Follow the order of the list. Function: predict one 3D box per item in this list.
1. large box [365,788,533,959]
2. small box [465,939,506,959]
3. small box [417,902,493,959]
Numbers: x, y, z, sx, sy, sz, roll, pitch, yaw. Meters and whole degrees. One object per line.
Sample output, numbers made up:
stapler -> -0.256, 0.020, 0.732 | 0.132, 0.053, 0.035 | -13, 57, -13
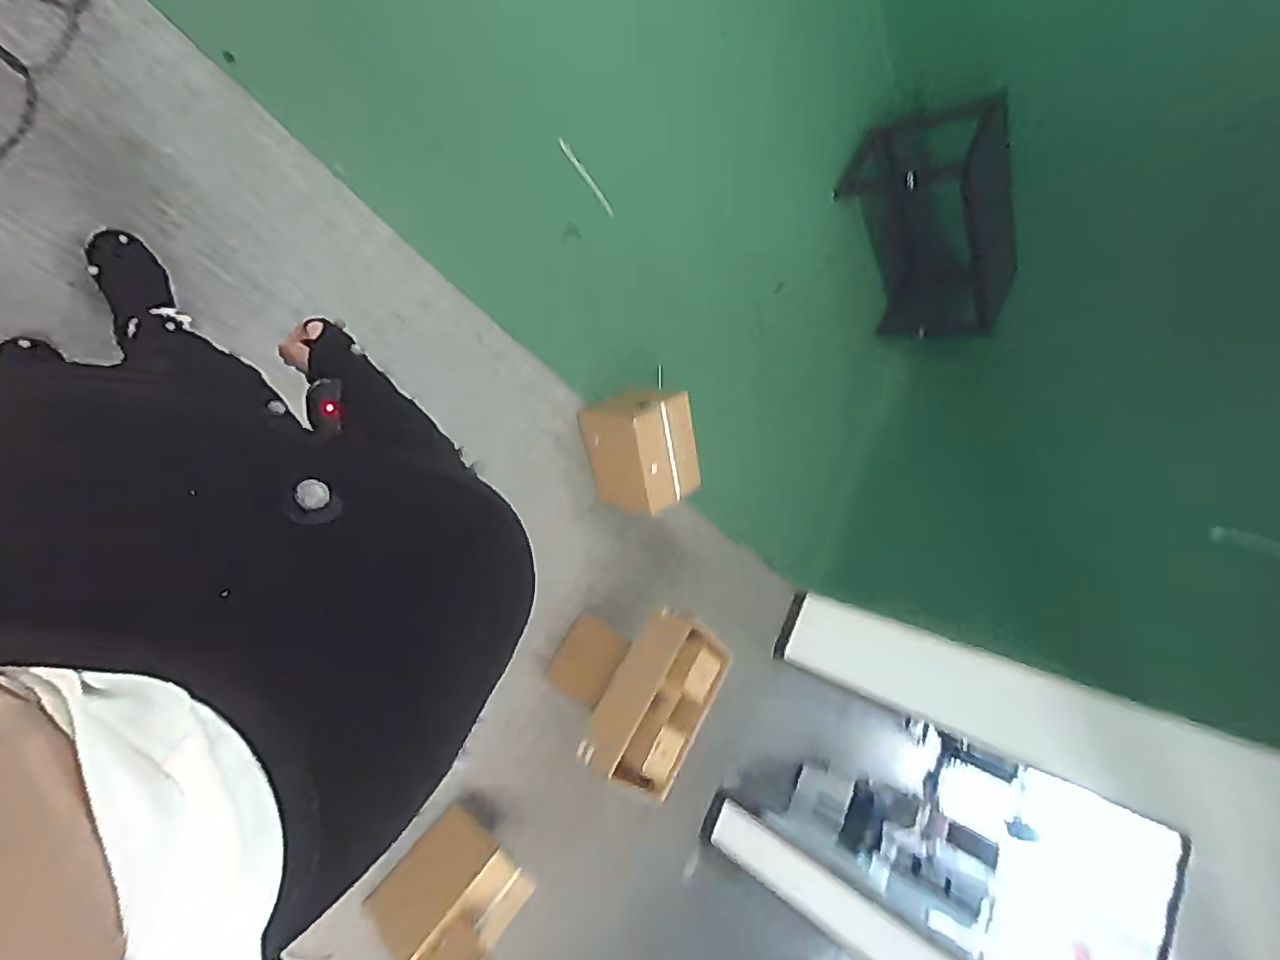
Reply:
large box -> -0.676, 1.426, 1.936 | 0.408, 0.320, 0.320 | -45, 131, -30
small box -> -0.451, 1.515, 1.594 | 0.168, 0.176, 0.179 | -39, 126, -34
small box -> -0.568, 1.494, 1.706 | 0.168, 0.176, 0.179 | -39, 125, -34
